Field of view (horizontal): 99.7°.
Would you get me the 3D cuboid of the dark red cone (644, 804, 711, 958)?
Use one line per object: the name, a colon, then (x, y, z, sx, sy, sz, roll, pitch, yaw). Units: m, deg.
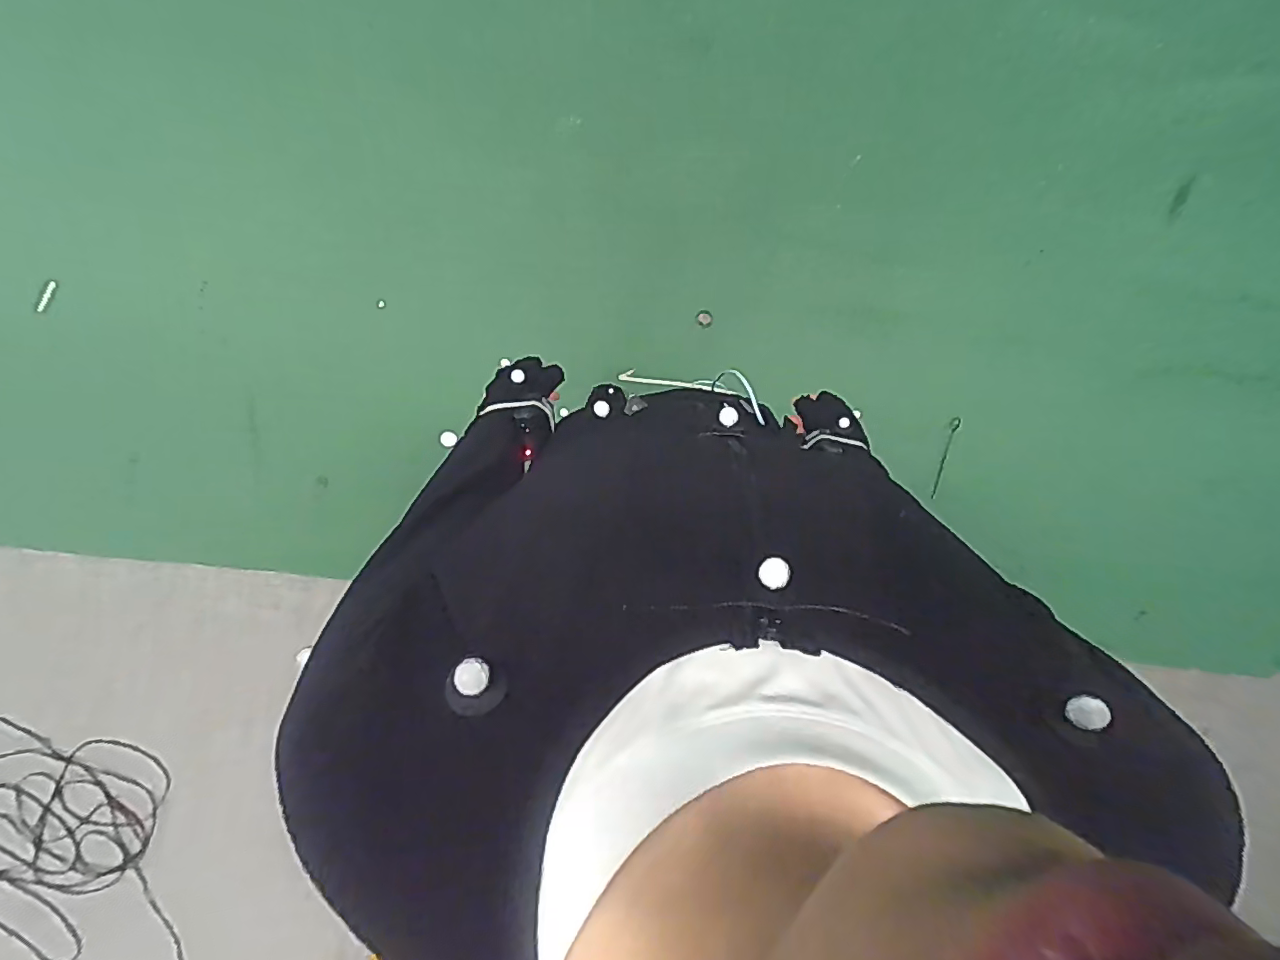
dark red cone: (0.116, 1.099, 1.482, 0.202, 0.394, 0.201, 1, 99, -1)

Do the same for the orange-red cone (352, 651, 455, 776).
orange-red cone: (-0.640, 0.629, 1.406, 0.198, 0.360, 0.199, 7, 101, -1)
